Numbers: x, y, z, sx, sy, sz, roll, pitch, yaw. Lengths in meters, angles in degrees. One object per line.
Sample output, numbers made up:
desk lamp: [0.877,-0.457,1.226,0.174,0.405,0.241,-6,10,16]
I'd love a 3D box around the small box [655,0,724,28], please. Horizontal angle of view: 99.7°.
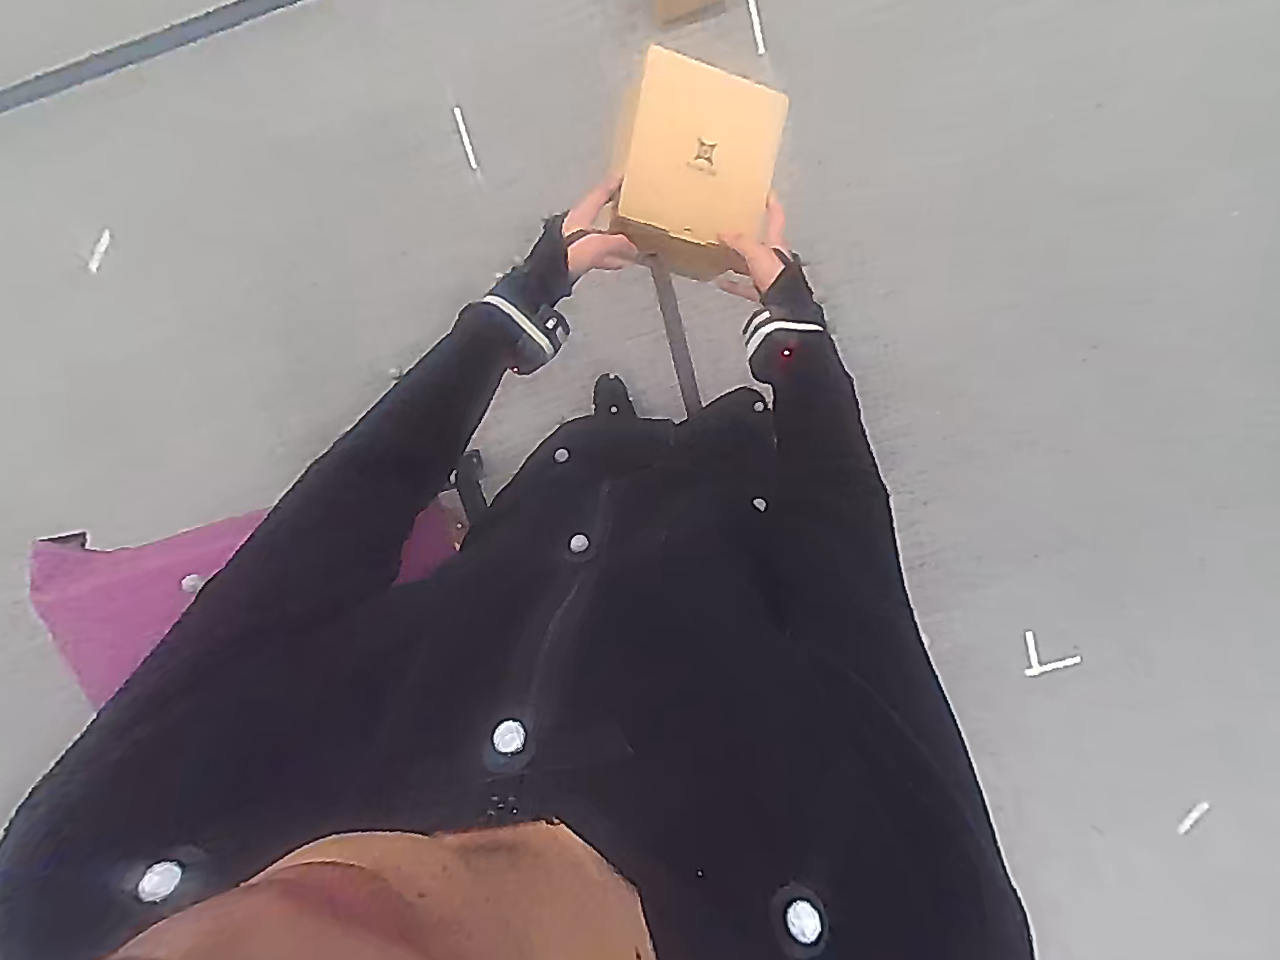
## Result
small box: [0.115,-1.231,1.277,0.179,0.176,0.168,-17,101,5]

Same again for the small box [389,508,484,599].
small box: [-0.593,0.213,1.604,0.179,0.176,0.168,-44,98,10]

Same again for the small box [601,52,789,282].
small box: [0.055,-0.363,0.668,0.168,0.176,0.179,10,99,-14]
